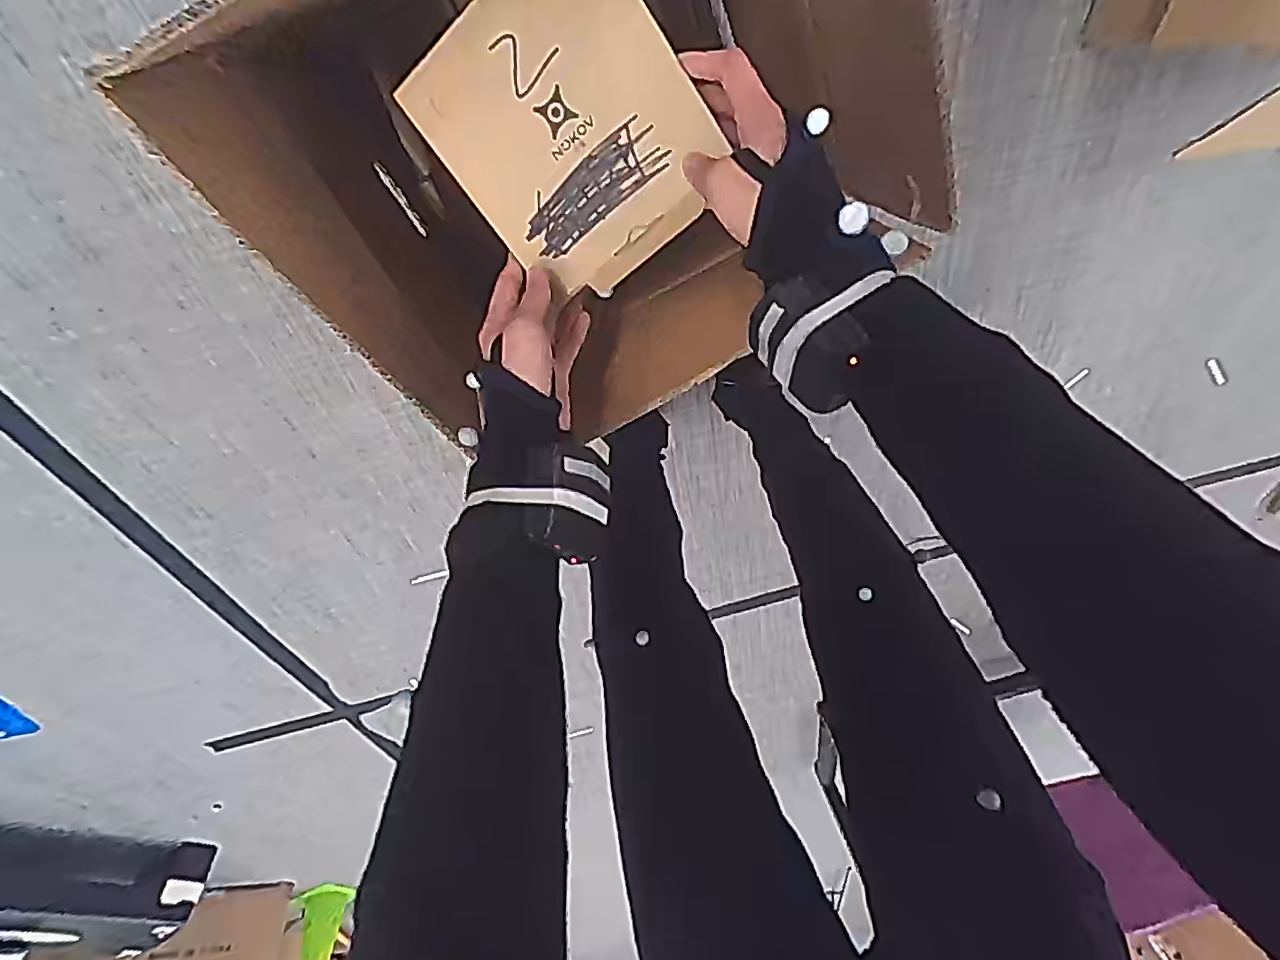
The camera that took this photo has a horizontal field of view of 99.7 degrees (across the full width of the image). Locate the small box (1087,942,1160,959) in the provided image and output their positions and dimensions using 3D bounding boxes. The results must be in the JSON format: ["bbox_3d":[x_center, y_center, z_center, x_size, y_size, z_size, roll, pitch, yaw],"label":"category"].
[{"bbox_3d":[1.249,1.301,1.363,0.168,0.176,0.179,-19,131,1],"label":"small box"}]

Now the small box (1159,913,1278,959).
[{"bbox_3d":[1.508,1.244,1.382,0.179,0.176,0.168,-22,129,4],"label":"small box"}]
